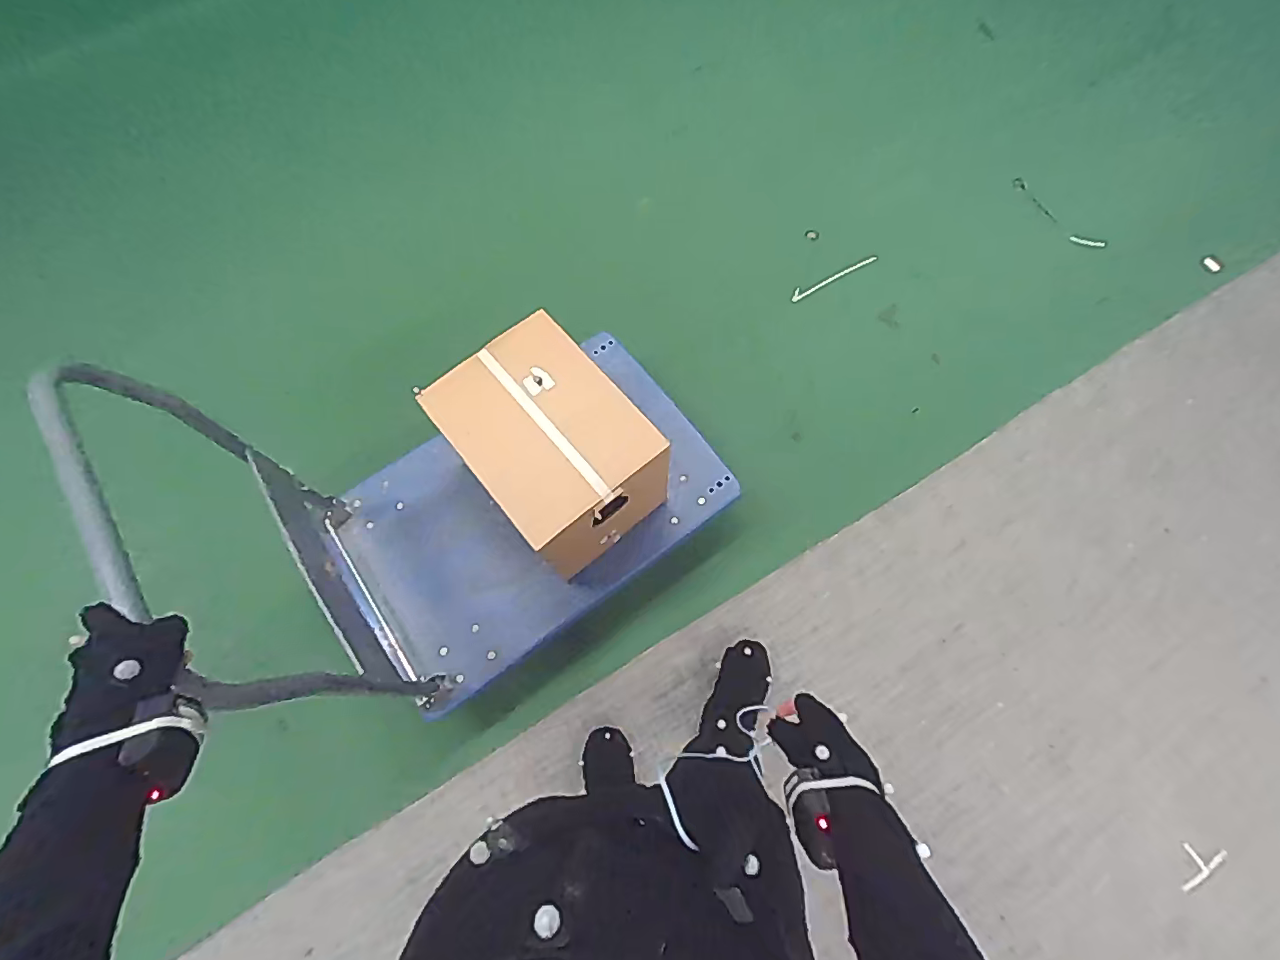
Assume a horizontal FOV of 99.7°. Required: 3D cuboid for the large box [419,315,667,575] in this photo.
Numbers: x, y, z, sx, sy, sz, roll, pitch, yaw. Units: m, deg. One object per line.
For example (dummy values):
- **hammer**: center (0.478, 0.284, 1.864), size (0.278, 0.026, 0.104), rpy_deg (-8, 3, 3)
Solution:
- **large box**: center (-0.183, -0.061, 1.171), size (0.320, 0.320, 0.408), rpy_deg (-39, 72, -12)
